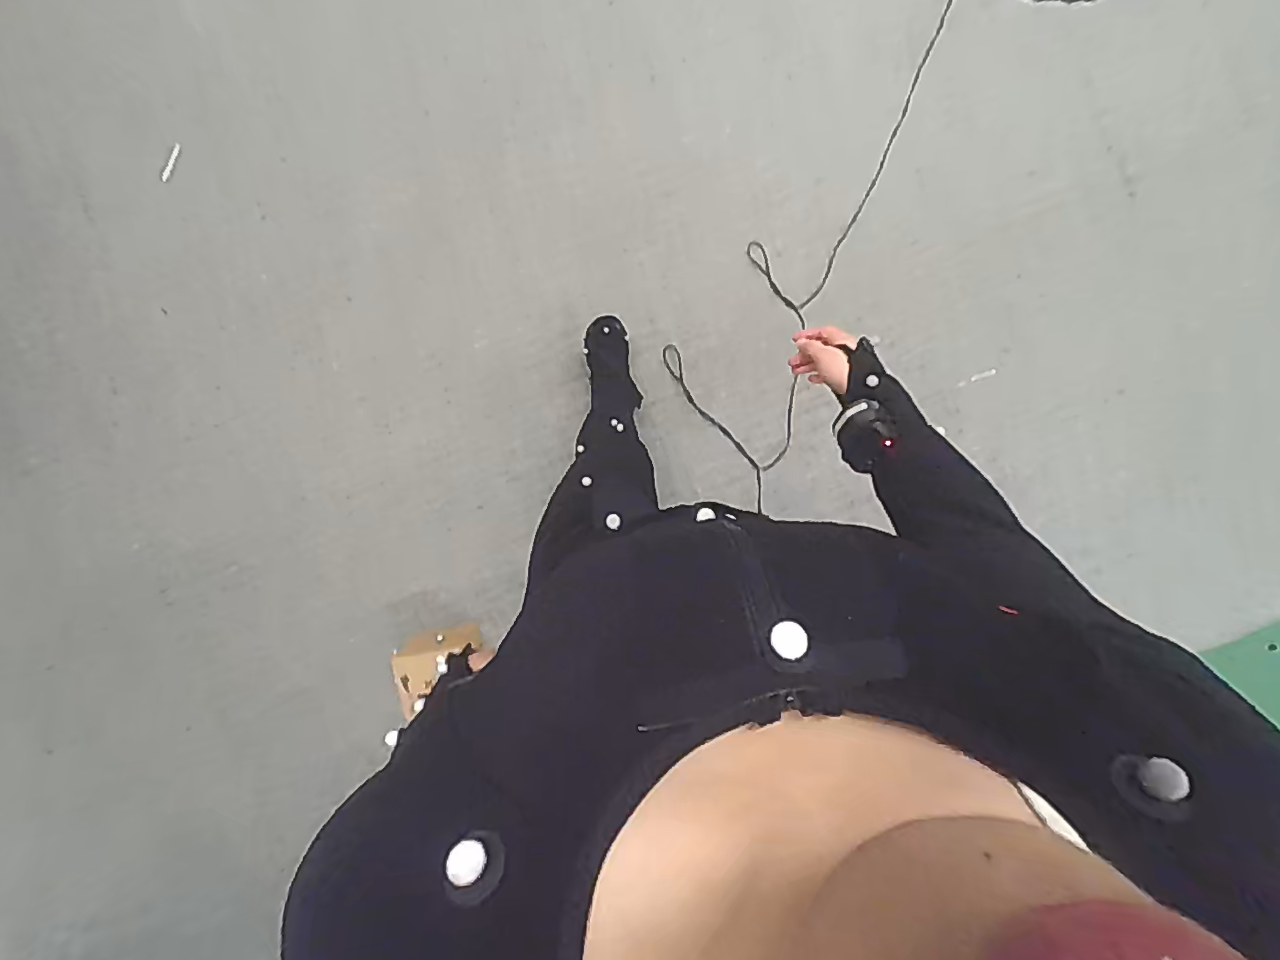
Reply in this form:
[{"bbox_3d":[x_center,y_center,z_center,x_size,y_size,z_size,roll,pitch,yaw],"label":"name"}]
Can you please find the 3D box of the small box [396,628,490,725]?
[{"bbox_3d":[-0.504,0.505,1.415,0.179,0.176,0.168,-11,96,-1],"label":"small box"}]
